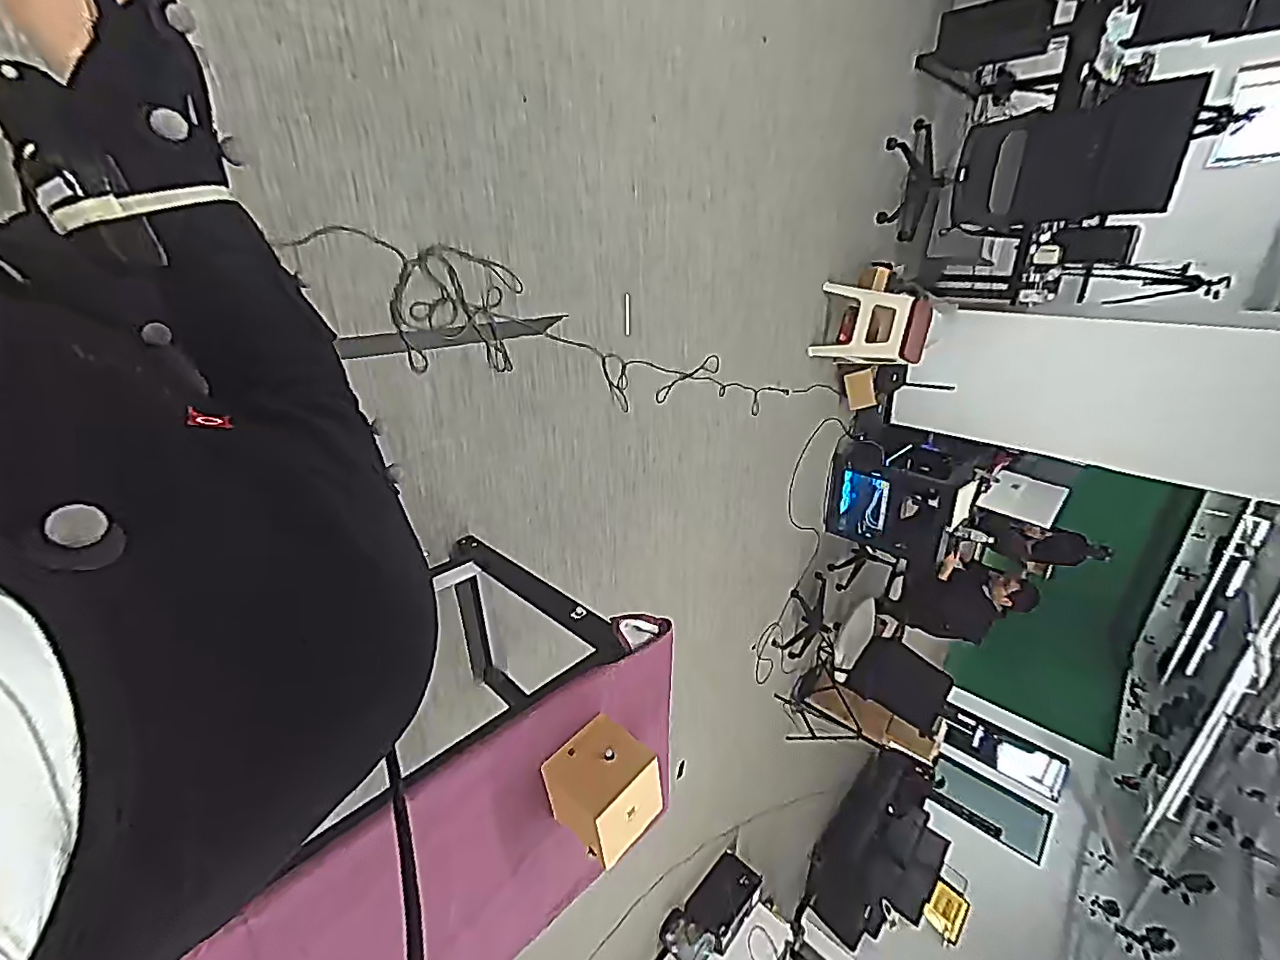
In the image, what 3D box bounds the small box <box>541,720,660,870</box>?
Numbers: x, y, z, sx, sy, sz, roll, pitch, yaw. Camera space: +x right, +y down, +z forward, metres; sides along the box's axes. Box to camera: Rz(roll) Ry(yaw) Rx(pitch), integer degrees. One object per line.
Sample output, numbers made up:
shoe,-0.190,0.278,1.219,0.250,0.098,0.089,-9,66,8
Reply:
small box,-0.080,0.620,1.093,0.168,0.176,0.179,-30,127,-37
